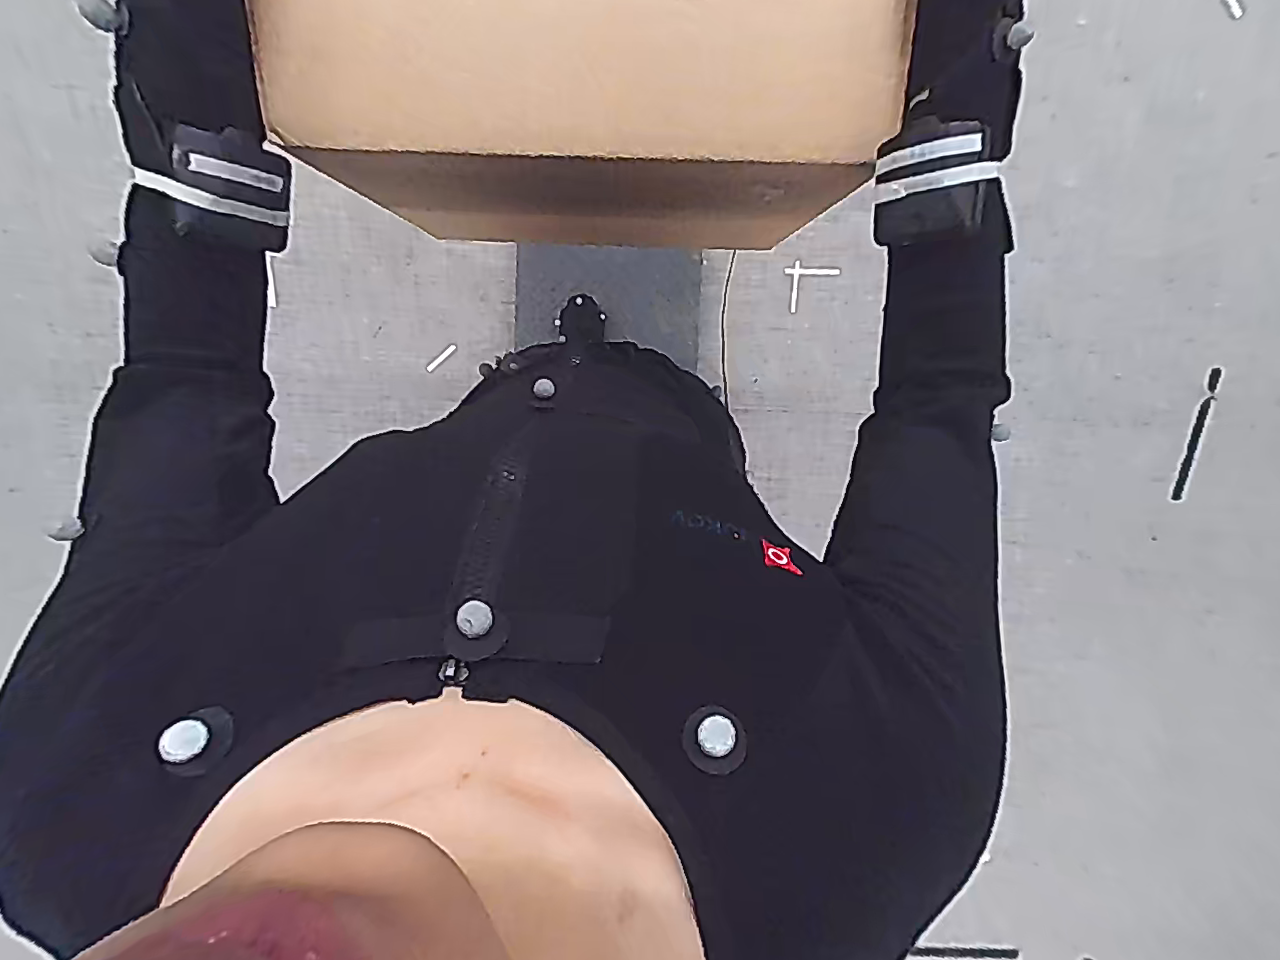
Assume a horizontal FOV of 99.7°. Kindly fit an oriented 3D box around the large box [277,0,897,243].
[{"bbox_3d":[-0.036,-0.404,0.475,0.408,0.320,0.320,0,104,-2],"label":"large box"}]
